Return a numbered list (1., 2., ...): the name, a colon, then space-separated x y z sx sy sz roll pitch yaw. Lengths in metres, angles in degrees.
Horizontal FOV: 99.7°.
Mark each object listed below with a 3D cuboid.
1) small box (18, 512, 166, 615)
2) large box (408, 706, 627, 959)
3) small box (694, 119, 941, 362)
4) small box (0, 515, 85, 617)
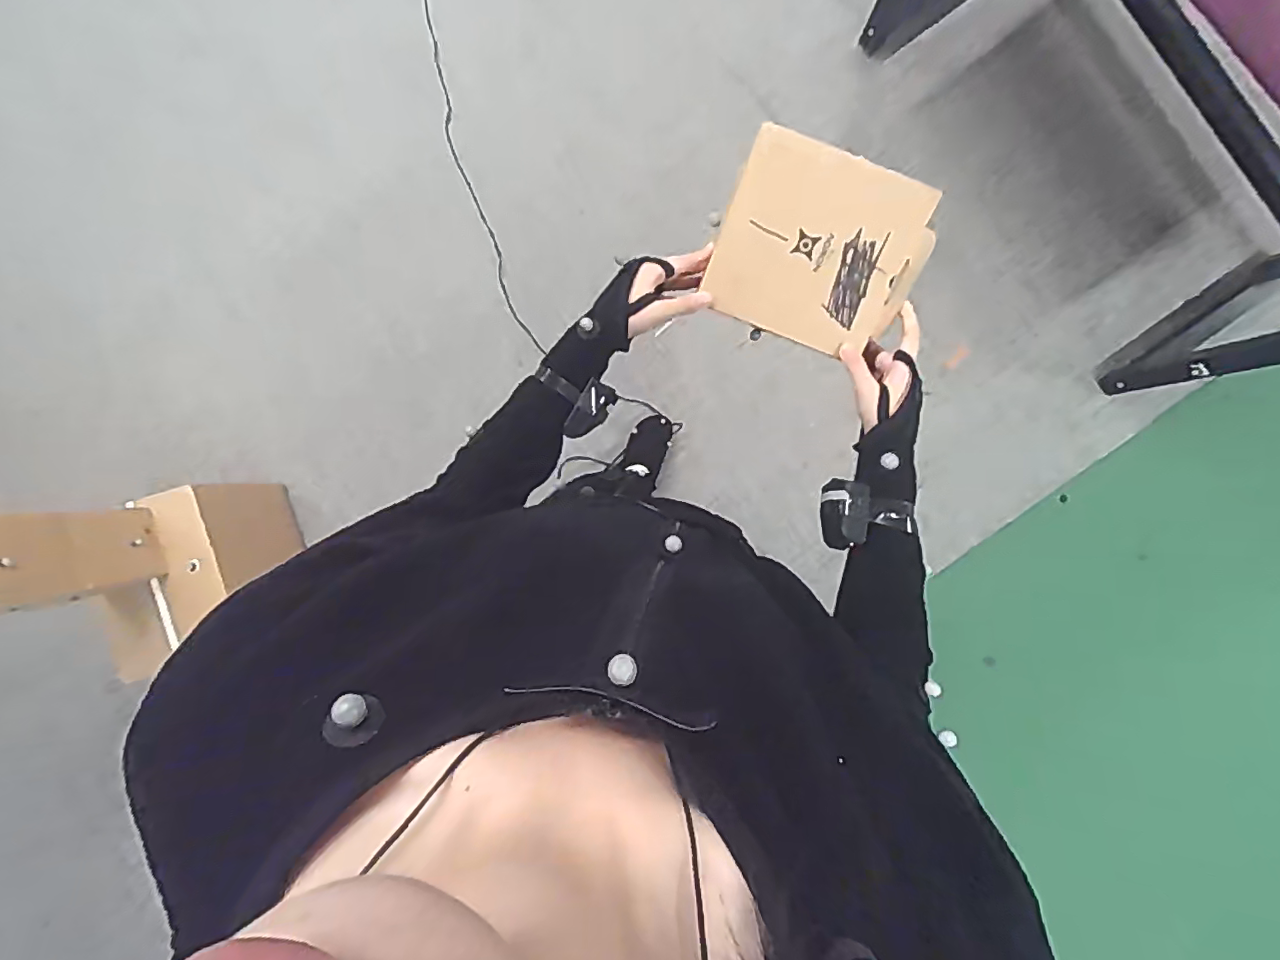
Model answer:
1. small box: -1.198 0.174 1.171 0.179 0.176 0.168 -17 90 4
2. large box: -0.284 0.870 1.378 0.408 0.320 0.320 40 92 1
3. small box: 0.169 -0.244 0.579 0.179 0.176 0.168 21 109 -2
4. small box: -1.211 0.166 1.010 0.168 0.176 0.179 -16 90 4
